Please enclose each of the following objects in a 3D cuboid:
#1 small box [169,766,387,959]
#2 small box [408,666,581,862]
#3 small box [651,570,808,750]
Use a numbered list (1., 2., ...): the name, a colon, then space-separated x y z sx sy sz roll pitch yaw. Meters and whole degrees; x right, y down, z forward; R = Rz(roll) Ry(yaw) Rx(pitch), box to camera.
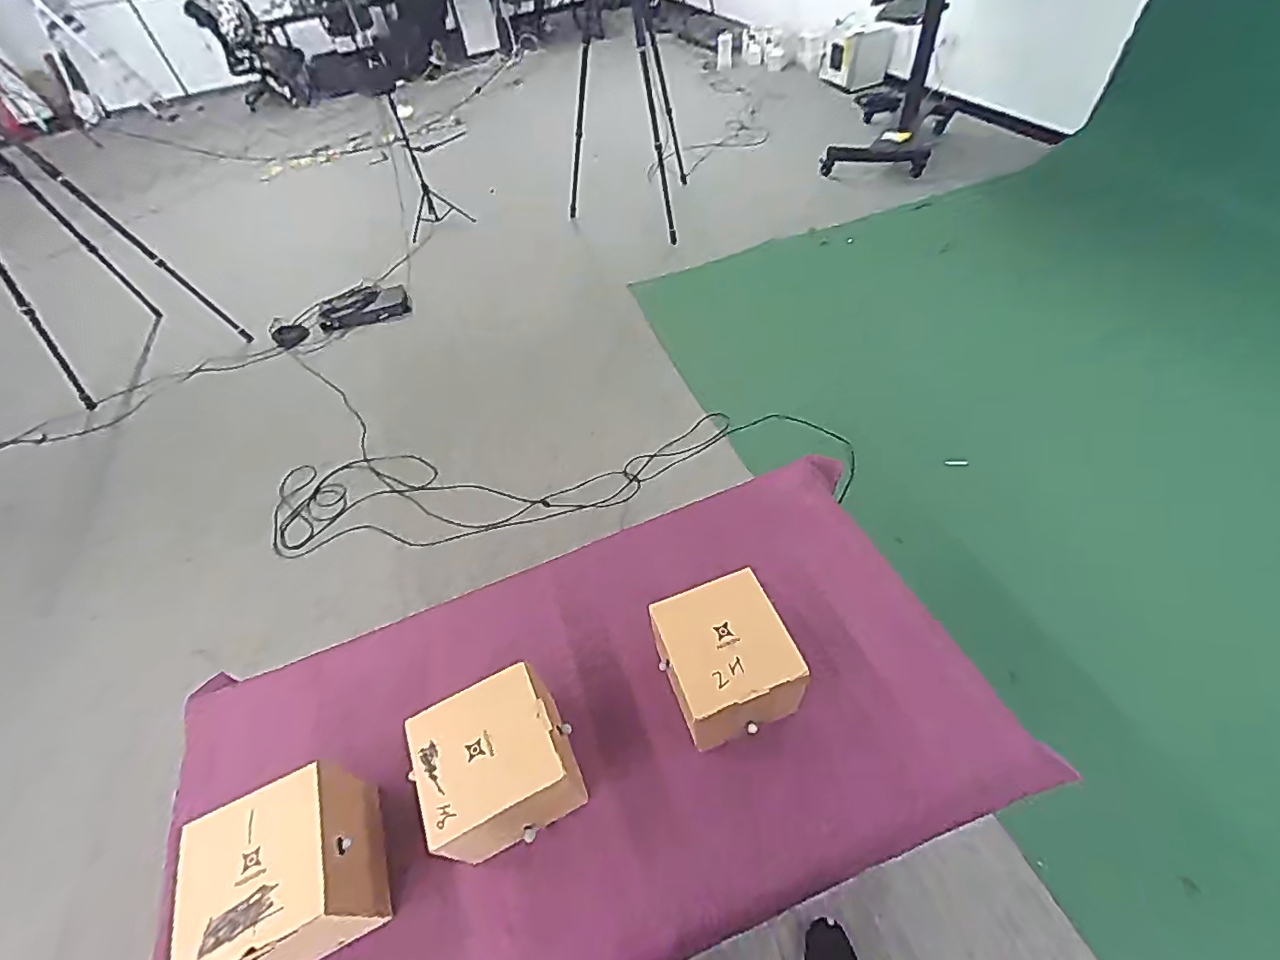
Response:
1. small box: -0.446 0.506 0.692 0.168 0.176 0.179 -23 50 -12
2. small box: -0.192 0.395 0.751 0.179 0.176 0.168 -24 51 -12
3. small box: 0.126 0.271 0.809 0.168 0.176 0.179 -20 51 -7
